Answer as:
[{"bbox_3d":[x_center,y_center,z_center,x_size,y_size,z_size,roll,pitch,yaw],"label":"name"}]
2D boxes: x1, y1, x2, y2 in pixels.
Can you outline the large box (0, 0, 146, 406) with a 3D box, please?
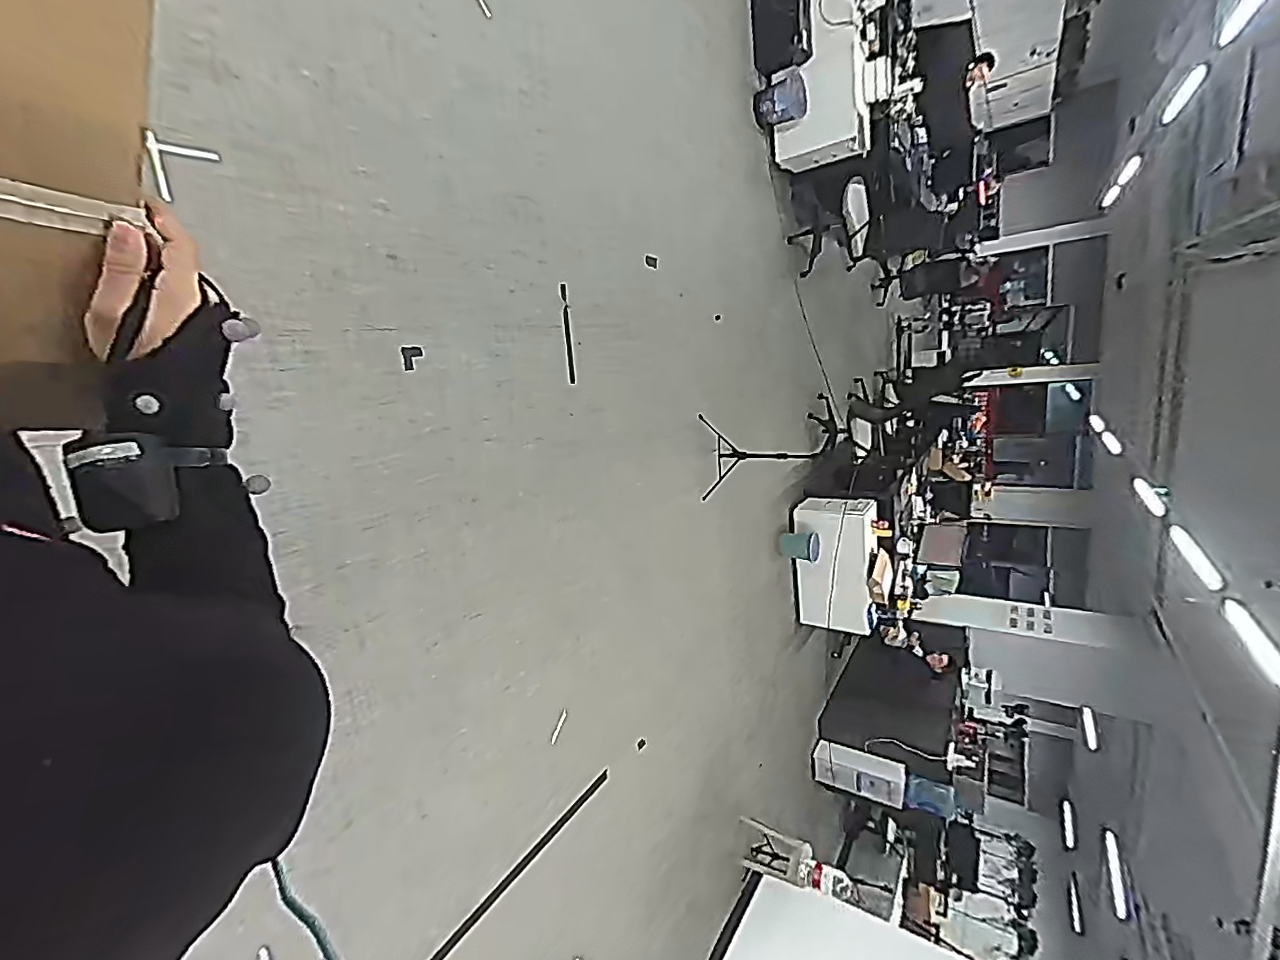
[{"bbox_3d":[-0.547,-0.245,0.256,0.408,0.320,0.320,-10,137,-53],"label":"large box"}]
